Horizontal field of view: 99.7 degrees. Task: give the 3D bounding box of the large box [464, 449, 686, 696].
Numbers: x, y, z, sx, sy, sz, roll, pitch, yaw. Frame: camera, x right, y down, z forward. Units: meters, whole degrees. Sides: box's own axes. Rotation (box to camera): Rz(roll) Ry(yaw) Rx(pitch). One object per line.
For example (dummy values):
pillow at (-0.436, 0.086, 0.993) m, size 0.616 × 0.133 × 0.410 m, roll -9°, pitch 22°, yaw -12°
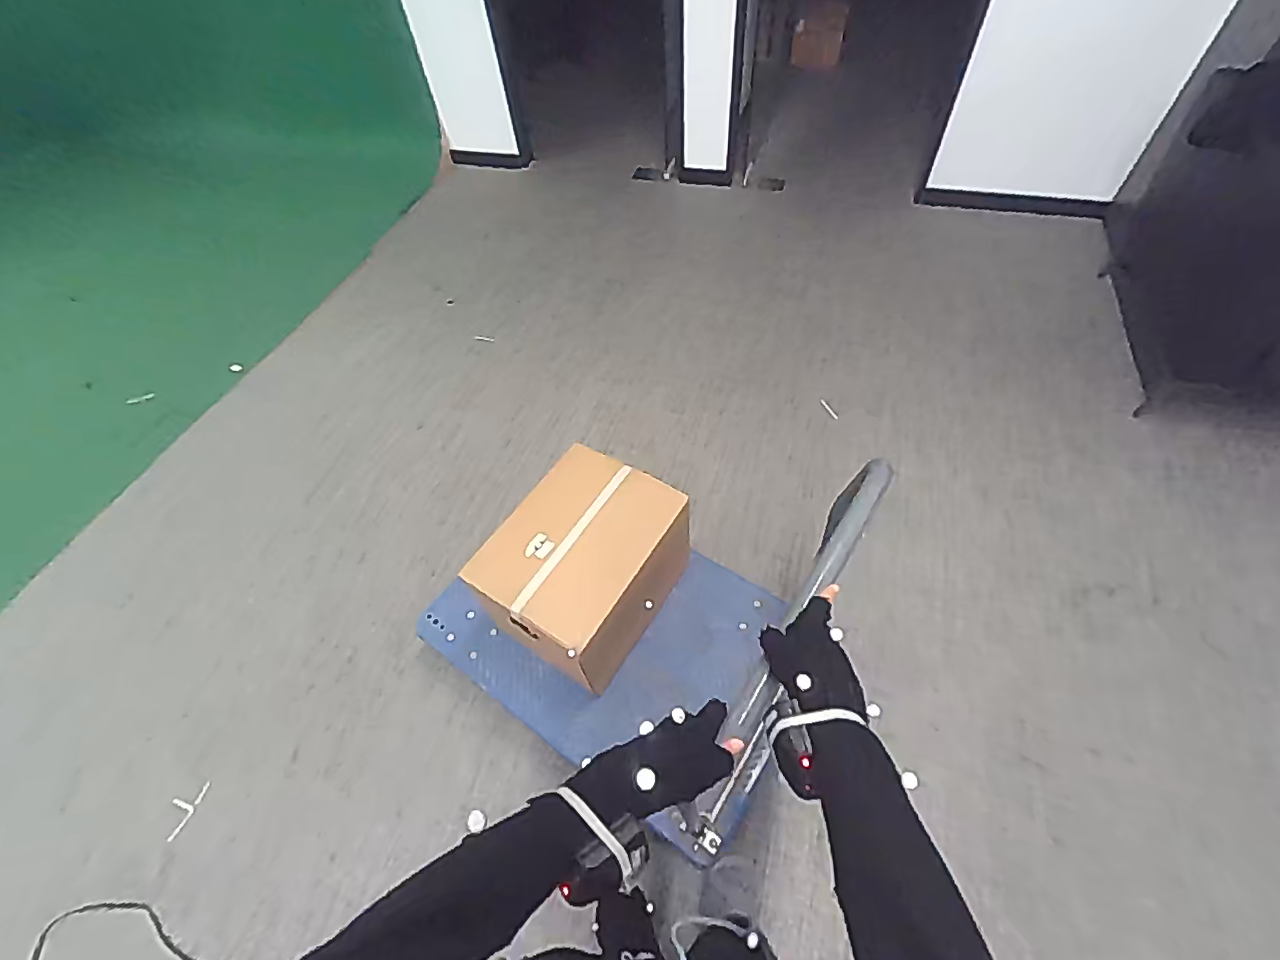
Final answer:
large box at (-0.118, 0.210, 1.252) m, size 0.320 × 0.320 × 0.408 m, roll 26°, pitch 61°, yaw 22°
